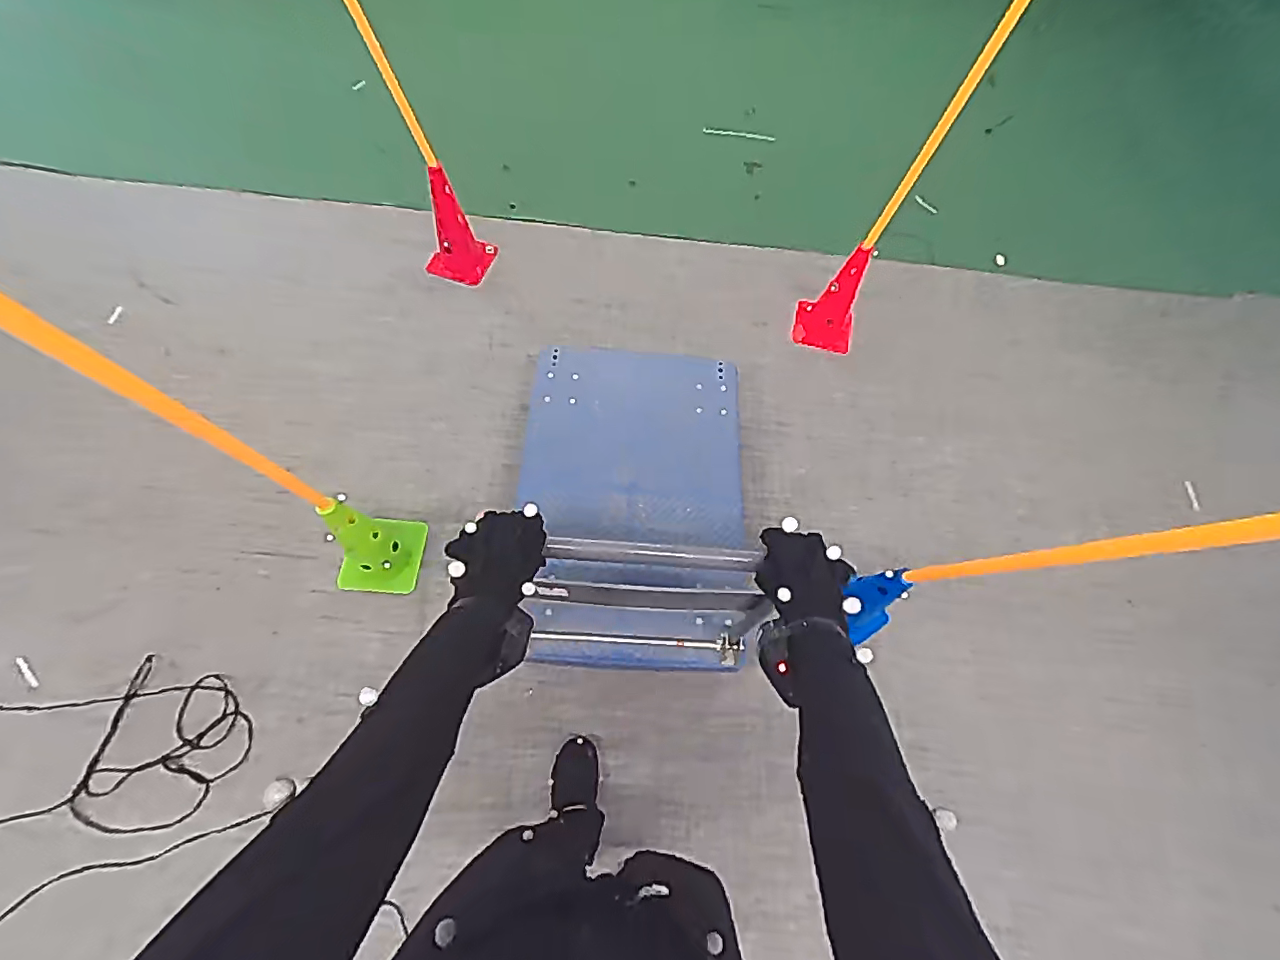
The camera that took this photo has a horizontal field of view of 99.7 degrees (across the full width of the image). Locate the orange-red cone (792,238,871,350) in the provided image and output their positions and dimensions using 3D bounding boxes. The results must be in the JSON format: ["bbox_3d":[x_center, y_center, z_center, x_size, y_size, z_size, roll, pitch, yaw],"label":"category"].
[{"bbox_3d":[0.643,-0.613,1.721,0.198,0.360,0.199,15,66,4],"label":"orange-red cone"}]
